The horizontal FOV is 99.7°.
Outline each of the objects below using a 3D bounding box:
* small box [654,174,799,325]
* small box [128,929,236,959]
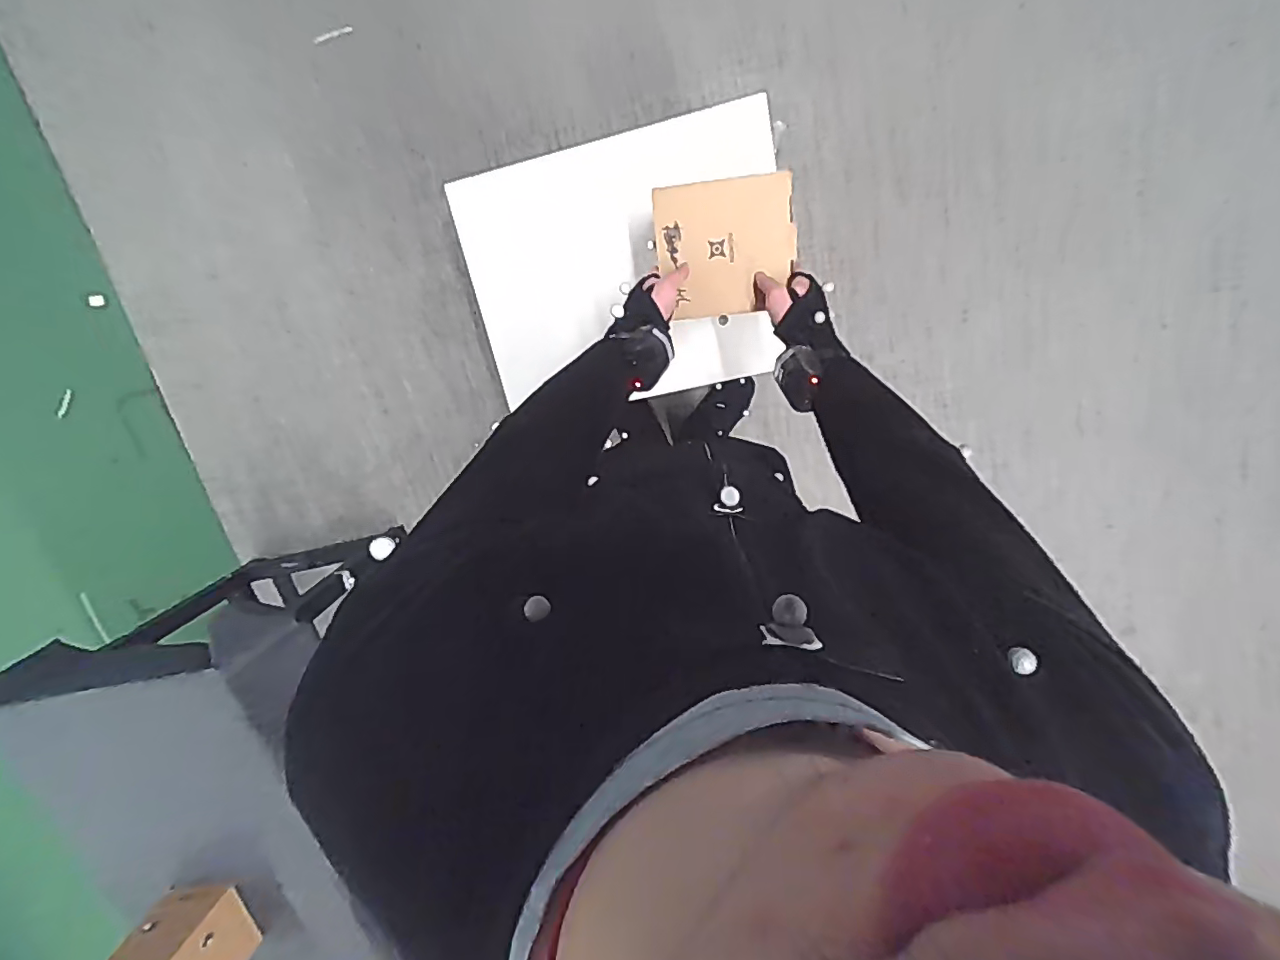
[{"bbox_3d":[0.113,-0.311,0.756,0.179,0.176,0.168,-5,107,4],"label":"small box"},{"bbox_3d":[-0.948,1.041,1.081,0.168,0.176,0.179,-12,107,8],"label":"small box"}]
